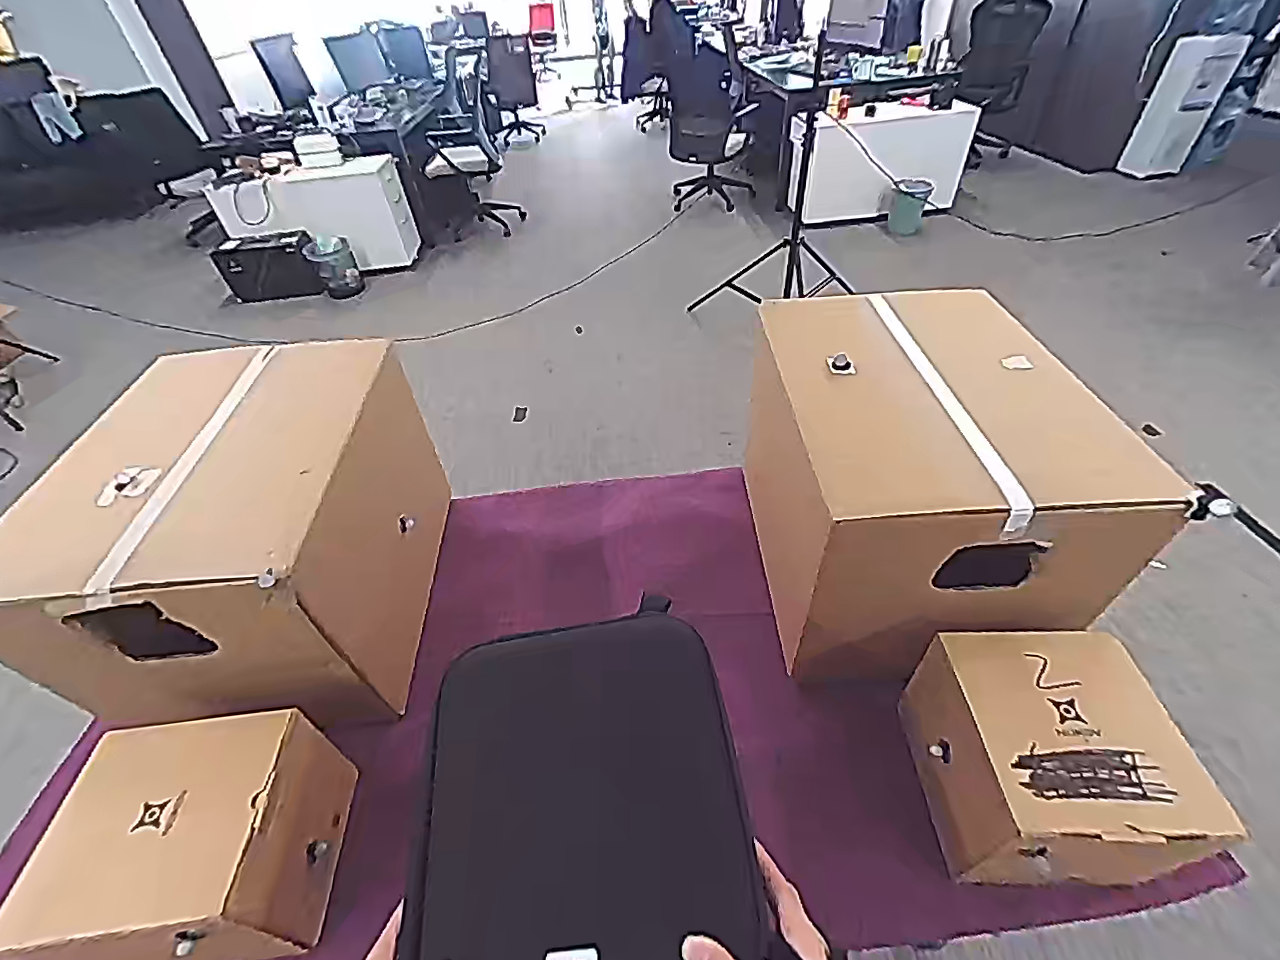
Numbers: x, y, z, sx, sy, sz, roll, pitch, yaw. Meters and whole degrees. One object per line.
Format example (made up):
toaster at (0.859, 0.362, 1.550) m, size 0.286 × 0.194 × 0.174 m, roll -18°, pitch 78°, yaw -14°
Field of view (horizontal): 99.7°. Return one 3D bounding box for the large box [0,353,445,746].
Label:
large box at (-0.474, 0.079, 0.718) m, size 0.320 × 0.320 × 0.408 m, roll -6°, pitch 46°, yaw -2°
